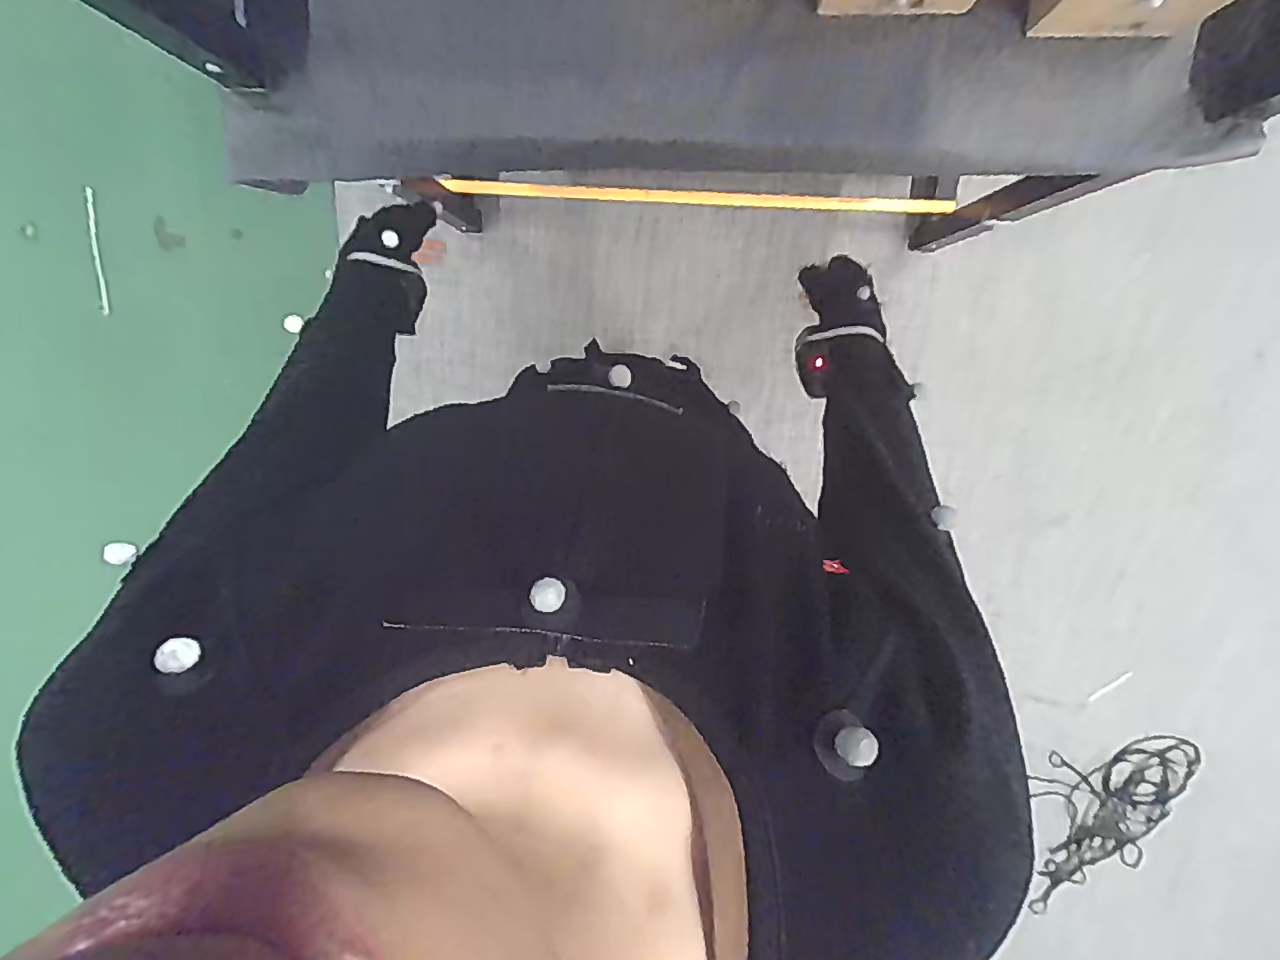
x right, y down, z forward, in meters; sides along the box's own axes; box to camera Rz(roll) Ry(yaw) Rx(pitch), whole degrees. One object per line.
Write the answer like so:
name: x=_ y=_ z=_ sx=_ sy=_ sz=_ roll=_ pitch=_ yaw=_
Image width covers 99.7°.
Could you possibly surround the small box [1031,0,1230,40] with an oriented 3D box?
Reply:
small box: x=0.509 y=-0.553 z=0.505 sx=0.168 sy=0.176 sz=0.179 roll=2 pitch=103 yaw=2
